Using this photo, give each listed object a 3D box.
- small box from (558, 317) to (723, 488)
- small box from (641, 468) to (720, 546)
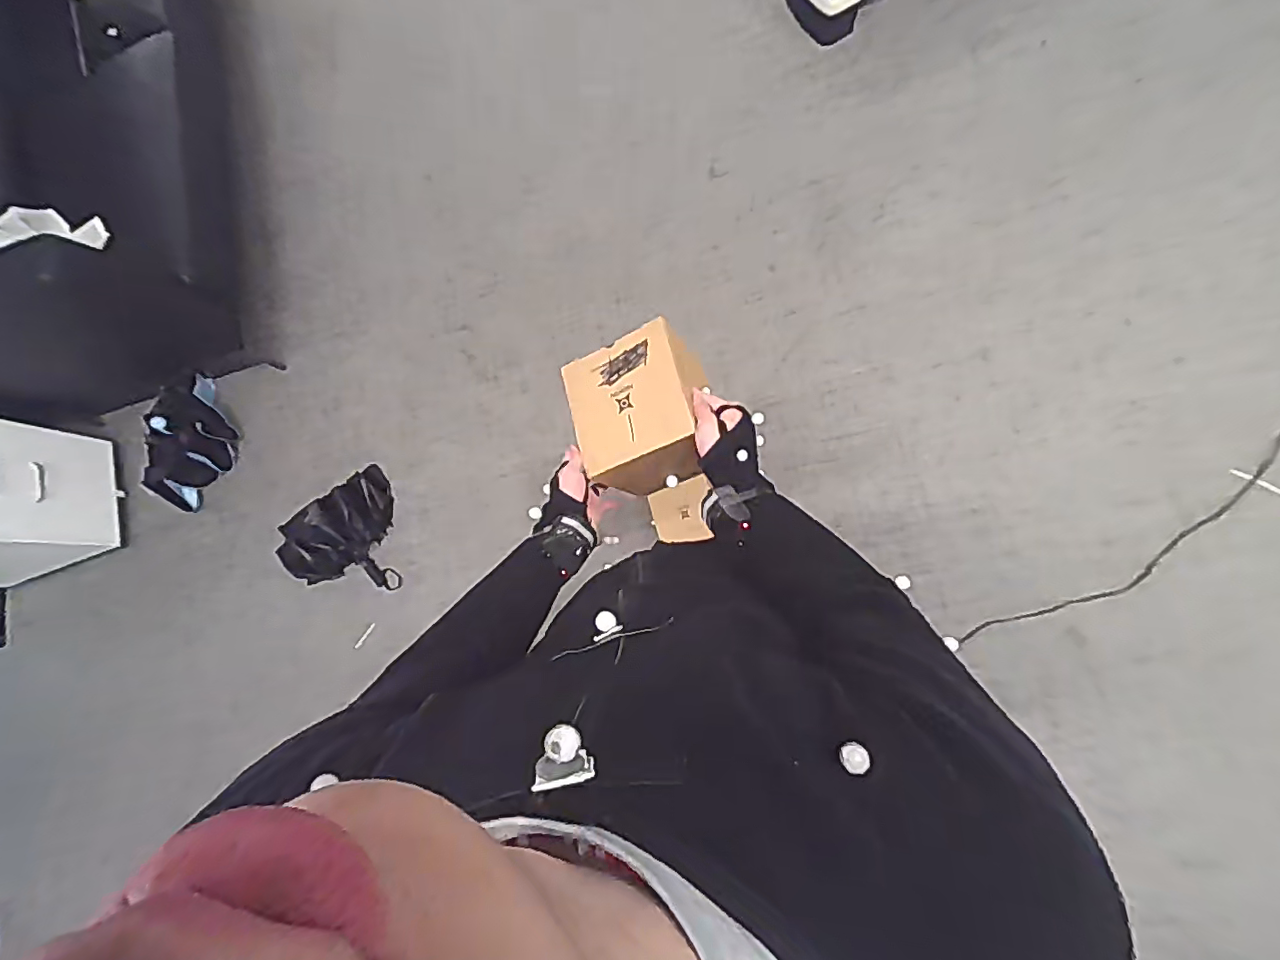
[{"bbox_3d":[0.006,-0.101,0.794,0.168,0.176,0.179,-20,75,21],"label":"small box"},{"bbox_3d":[0.115,0.078,1.482,0.168,0.176,0.179,-18,80,10],"label":"small box"}]
